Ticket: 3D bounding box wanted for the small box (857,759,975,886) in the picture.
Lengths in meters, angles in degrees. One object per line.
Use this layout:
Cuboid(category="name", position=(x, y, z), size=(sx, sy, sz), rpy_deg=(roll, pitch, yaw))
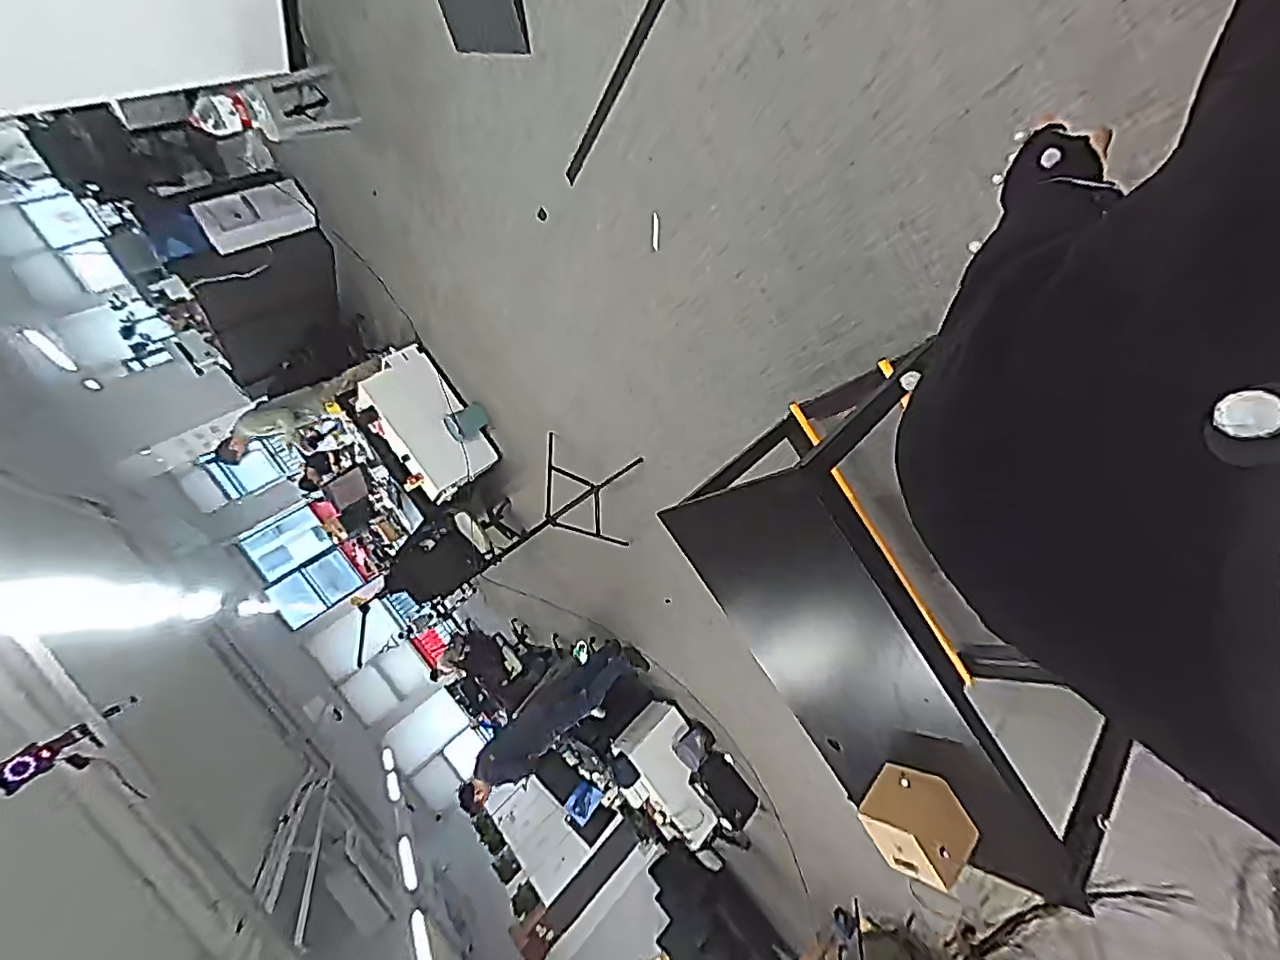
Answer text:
Cuboid(category="small box", position=(0.686, 0.836, 1.339), size=(0.179, 0.176, 0.168), rpy_deg=(57, 151, -4))
